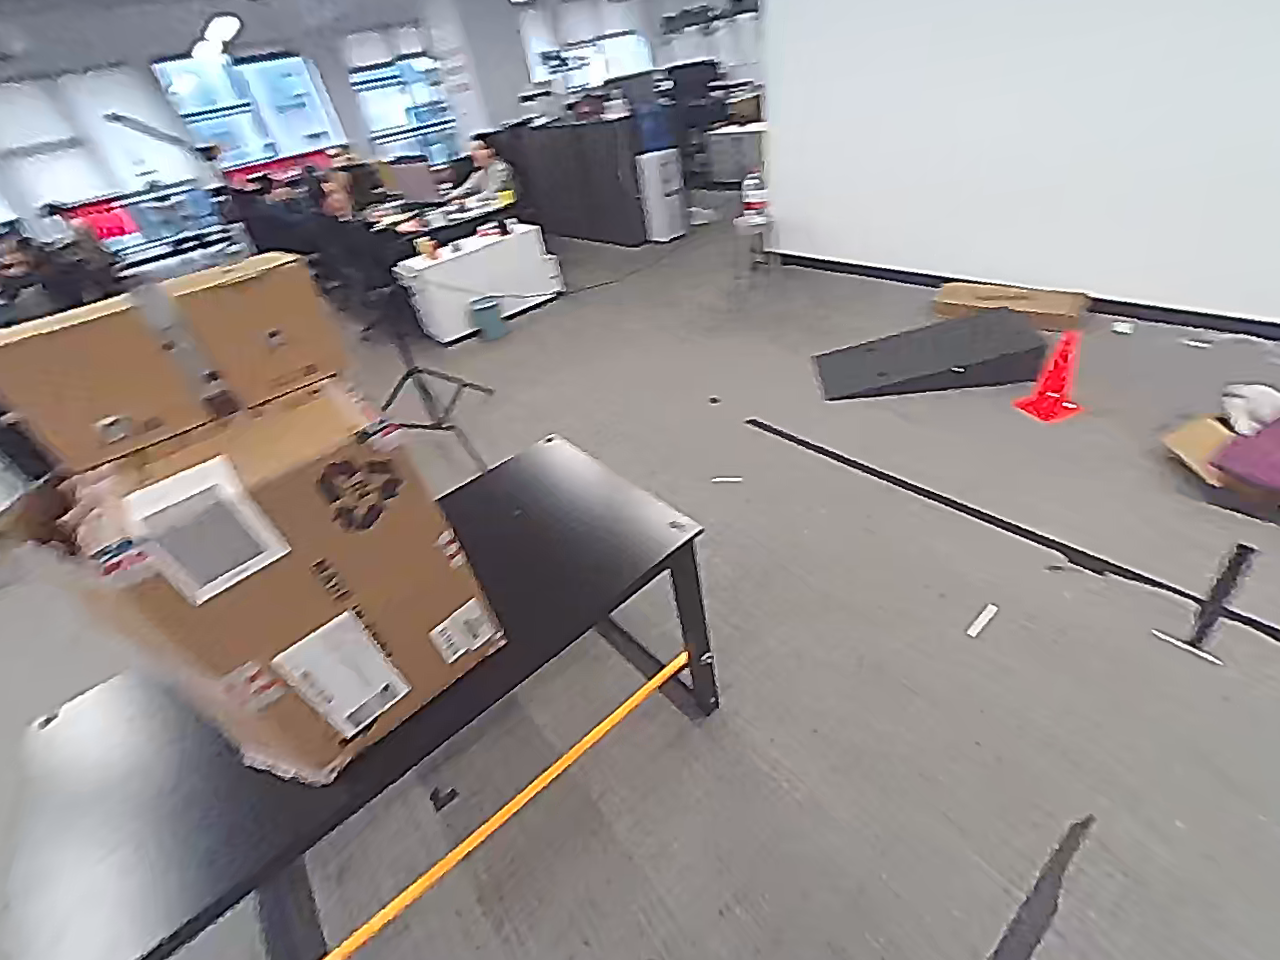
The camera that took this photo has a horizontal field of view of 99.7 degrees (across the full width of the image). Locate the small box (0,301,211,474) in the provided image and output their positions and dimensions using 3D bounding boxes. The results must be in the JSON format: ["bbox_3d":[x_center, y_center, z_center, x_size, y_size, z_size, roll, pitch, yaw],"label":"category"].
[{"bbox_3d":[-0.739,-0.130,0.742,0.179,0.176,0.168,23,49,40],"label":"small box"}]

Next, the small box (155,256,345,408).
[{"bbox_3d":[-0.593,-0.230,0.834,0.168,0.176,0.179,-35,42,-31],"label":"small box"}]
